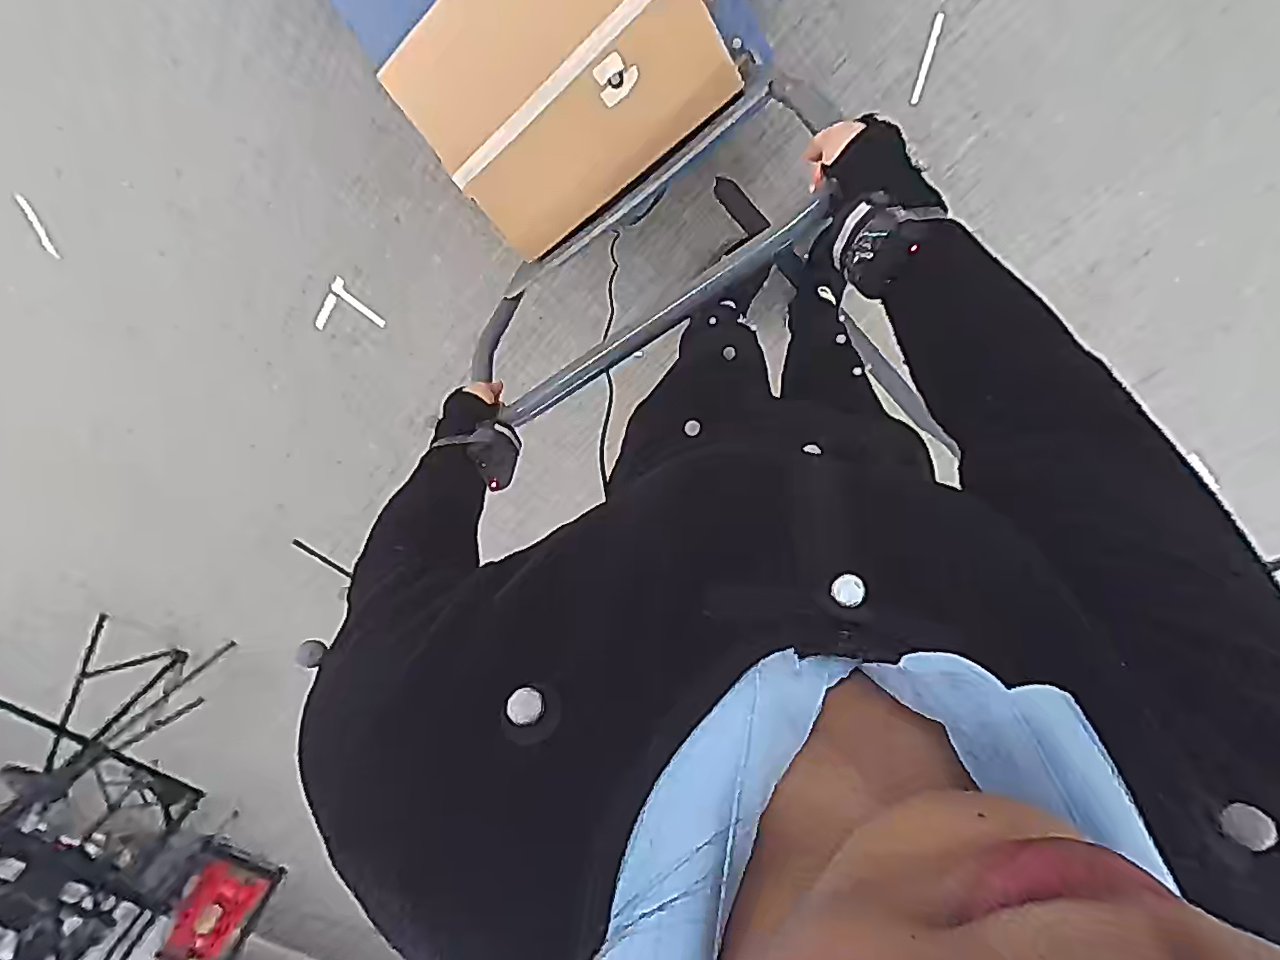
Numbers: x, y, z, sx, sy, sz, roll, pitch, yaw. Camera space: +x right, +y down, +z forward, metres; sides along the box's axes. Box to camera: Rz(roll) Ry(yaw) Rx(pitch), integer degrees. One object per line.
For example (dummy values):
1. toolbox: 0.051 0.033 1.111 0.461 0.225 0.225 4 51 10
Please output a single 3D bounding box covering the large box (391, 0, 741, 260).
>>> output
1. large box: -0.098 -0.637 0.863 0.408 0.320 0.320 -30 120 24
